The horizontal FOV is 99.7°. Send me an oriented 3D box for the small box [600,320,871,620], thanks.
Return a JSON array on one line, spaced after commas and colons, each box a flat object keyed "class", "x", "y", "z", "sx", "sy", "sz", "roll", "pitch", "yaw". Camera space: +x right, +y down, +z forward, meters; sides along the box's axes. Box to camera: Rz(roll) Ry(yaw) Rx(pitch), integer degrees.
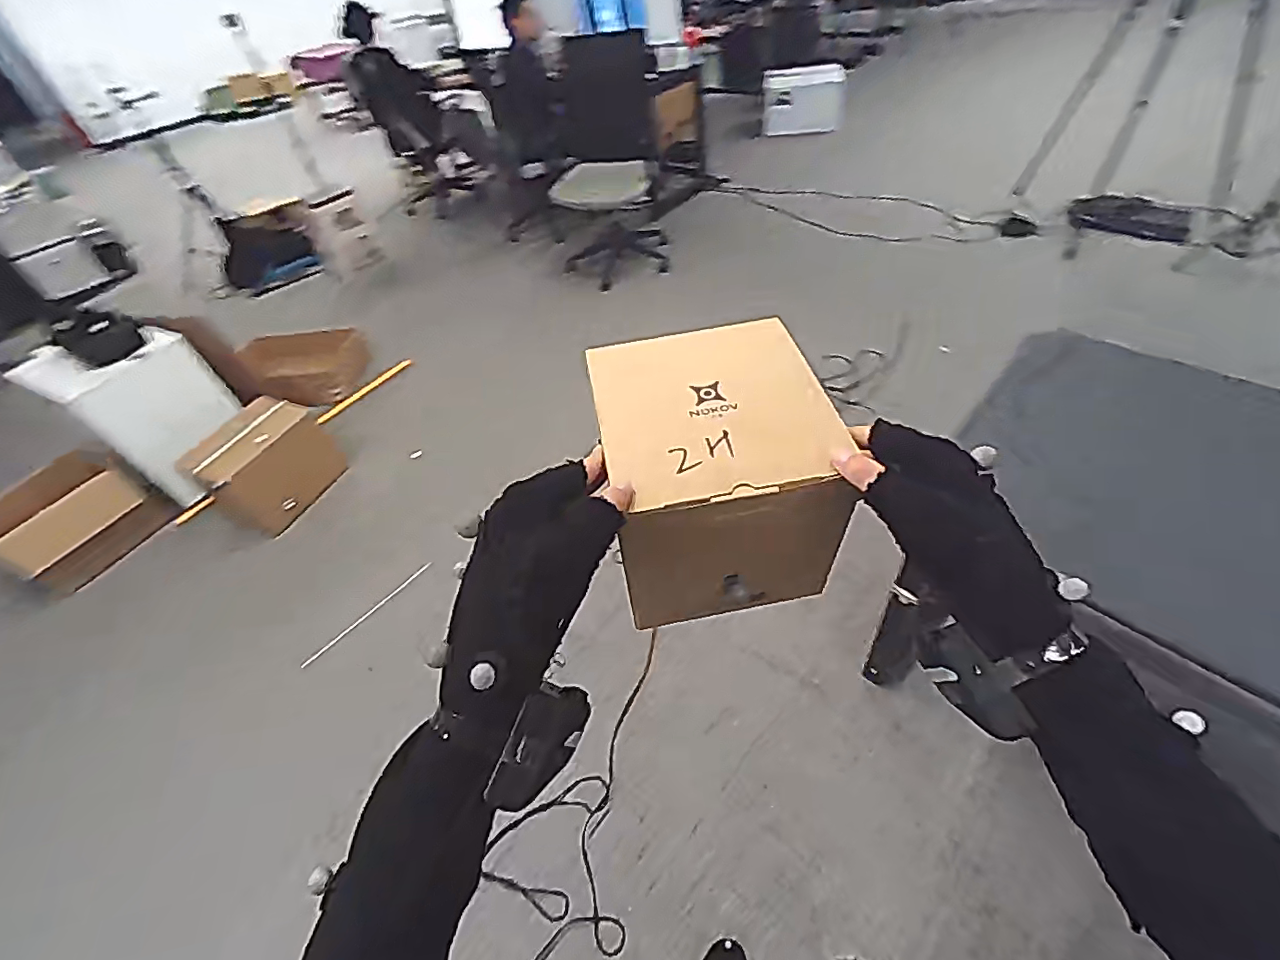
[{"class": "small box", "x": 0.063, "y": -0.007, "z": 0.458, "sx": 0.168, "sy": 0.176, "sz": 0.179, "roll": -10, "pitch": 50, "yaw": -2}]
